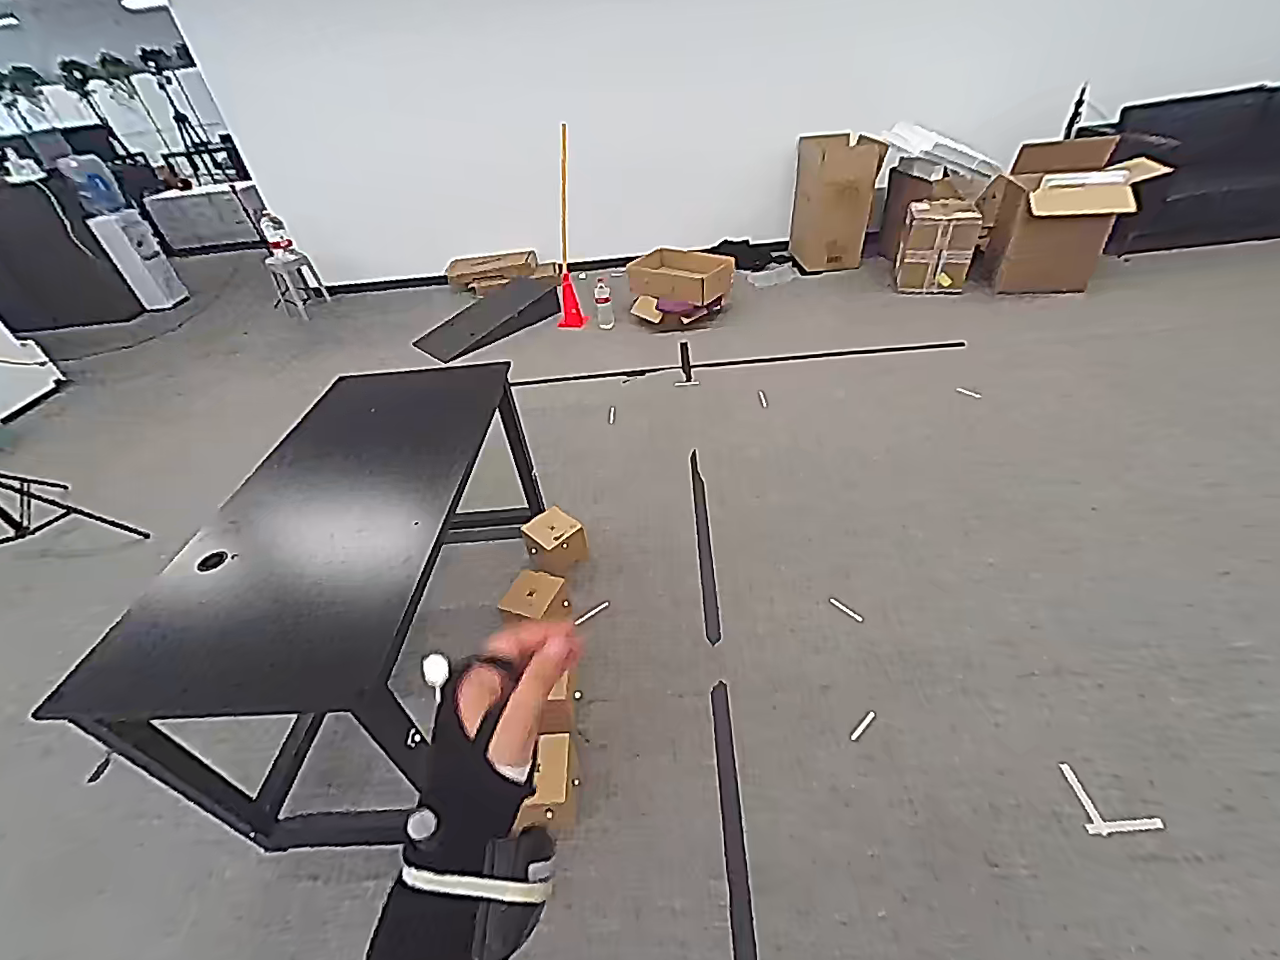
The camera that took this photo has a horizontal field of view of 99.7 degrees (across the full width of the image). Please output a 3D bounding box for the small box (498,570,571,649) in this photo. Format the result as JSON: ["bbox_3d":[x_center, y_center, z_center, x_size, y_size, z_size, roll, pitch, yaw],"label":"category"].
[{"bbox_3d":[-0.347,0.438,1.827,0.168,0.176,0.179,9,43,20],"label":"small box"}]

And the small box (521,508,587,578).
[{"bbox_3d":[-0.323,0.242,2.057,0.179,0.176,0.168,28,51,35],"label":"small box"}]

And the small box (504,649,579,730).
[{"bbox_3d":[-0.283,0.619,1.594,0.179,0.176,0.168,-4,39,2],"label":"small box"}]
